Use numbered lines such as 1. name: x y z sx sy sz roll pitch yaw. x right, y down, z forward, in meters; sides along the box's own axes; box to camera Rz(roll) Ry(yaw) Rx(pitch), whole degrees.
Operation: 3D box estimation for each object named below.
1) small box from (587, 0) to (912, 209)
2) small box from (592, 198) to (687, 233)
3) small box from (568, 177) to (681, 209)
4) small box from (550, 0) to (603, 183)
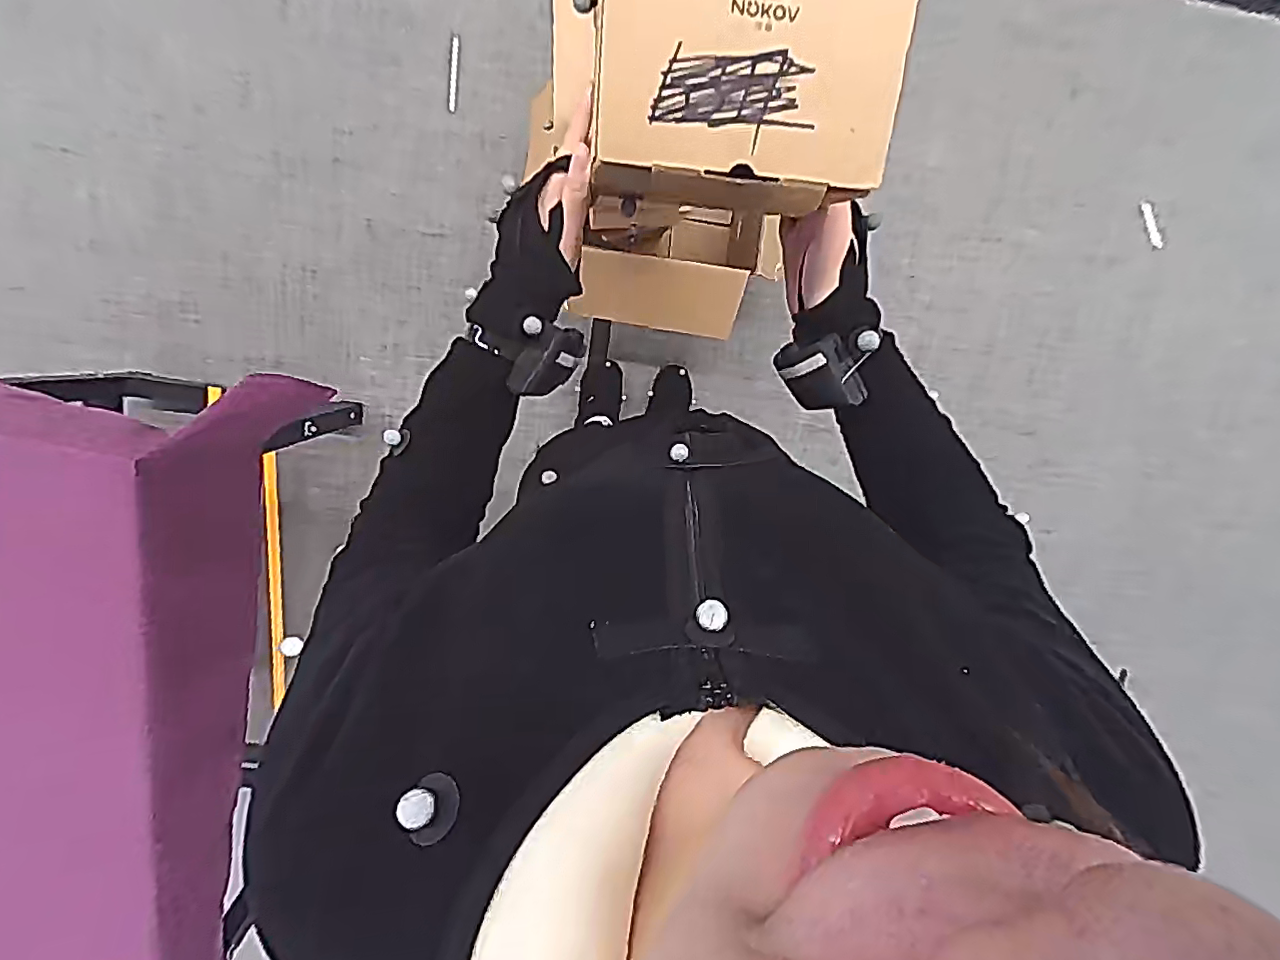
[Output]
1. small box: 0.053 -0.282 0.348 0.168 0.176 0.179 2 111 -8
2. small box: -0.018 -0.610 1.088 0.179 0.176 0.168 -14 108 -3
3. small box: -0.015 -0.495 0.778 0.179 0.176 0.168 0 108 -6
4. small box: -0.016 -0.448 0.621 0.168 0.176 0.179 0 107 -7
